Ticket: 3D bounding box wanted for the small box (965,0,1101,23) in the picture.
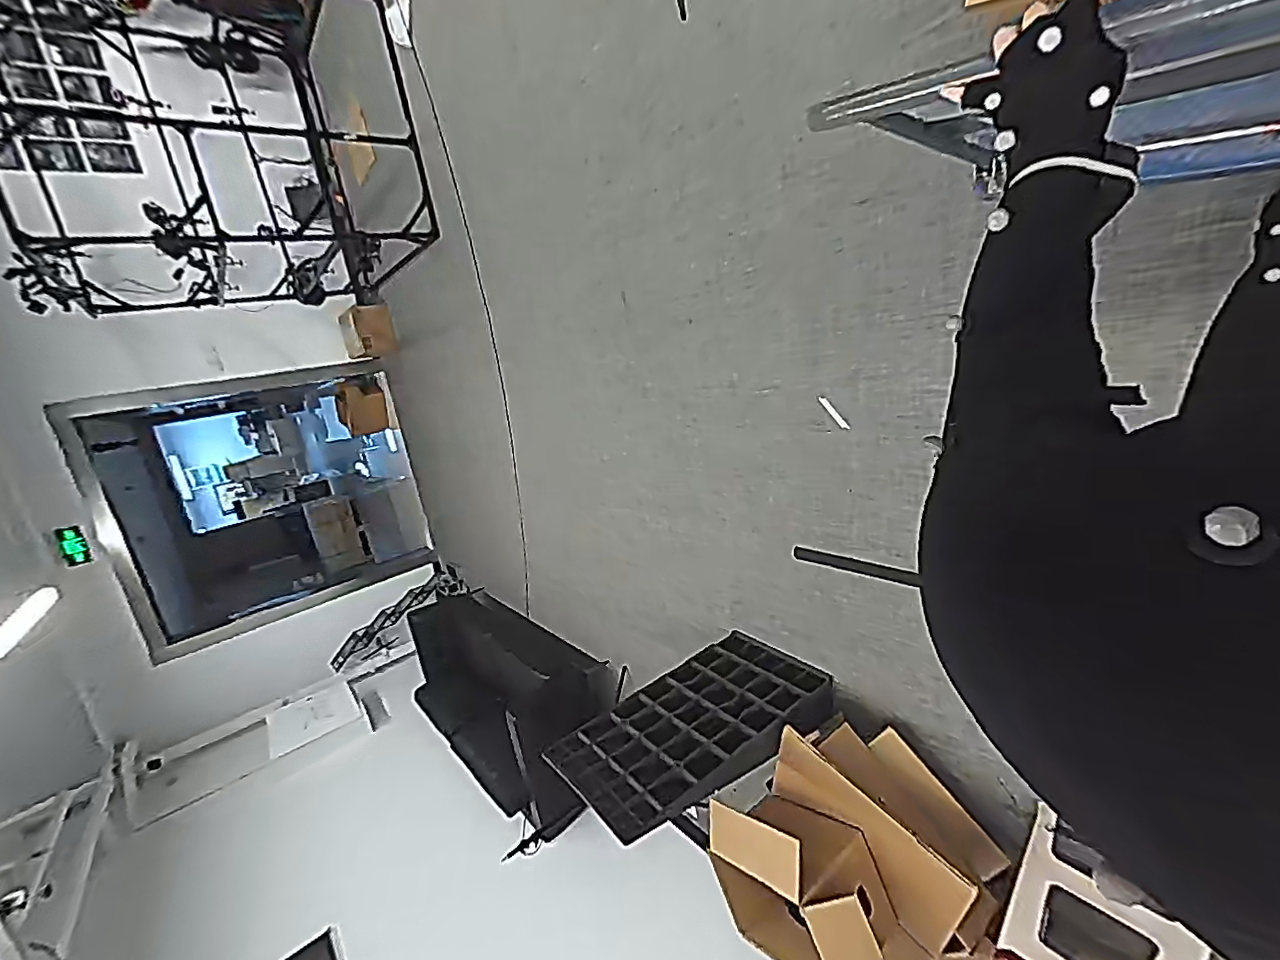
[{"bbox_3d":[0.660,-0.865,0.860,0.179,0.176,0.168,26,125,43],"label":"small box"}]
